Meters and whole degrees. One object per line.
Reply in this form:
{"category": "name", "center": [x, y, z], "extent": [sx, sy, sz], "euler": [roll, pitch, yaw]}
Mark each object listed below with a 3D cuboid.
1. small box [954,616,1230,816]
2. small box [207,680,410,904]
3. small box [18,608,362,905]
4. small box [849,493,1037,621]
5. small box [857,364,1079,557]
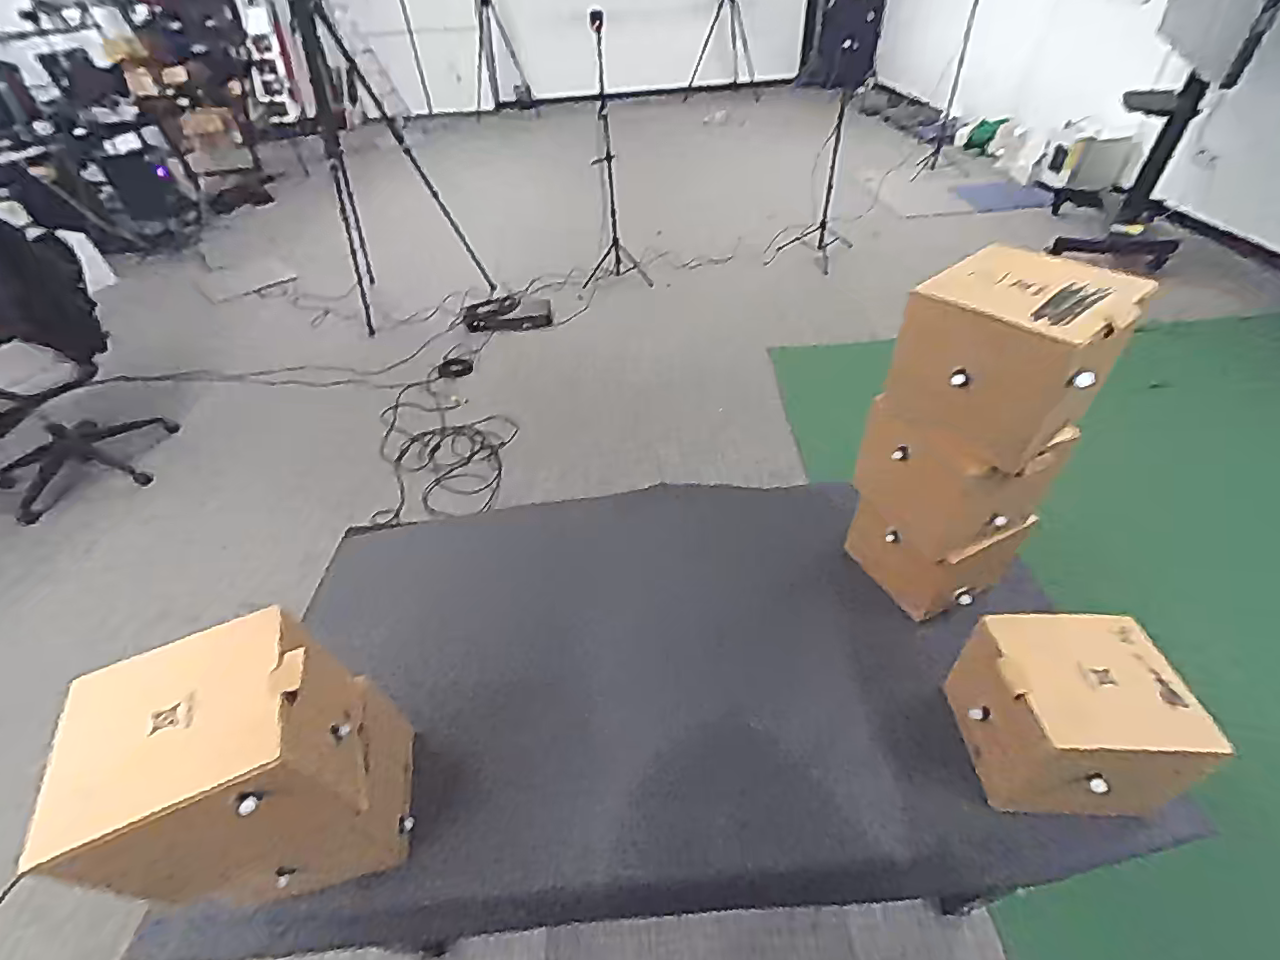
{"category": "small box", "center": [0.504, 0.281, 0.646], "extent": [0.179, 0.176, 0.168], "euler": [-1, 40, 5]}
{"category": "small box", "center": [-0.388, 0.368, 0.638], "extent": [0.179, 0.176, 0.168], "euler": [-13, 45, -7]}
{"category": "small box", "center": [-0.394, 0.261, 0.514], "extent": [0.179, 0.176, 0.168], "euler": [-21, 47, -17]}
{"category": "small box", "center": [0.461, 0.088, 0.857], "extent": [0.168, 0.176, 0.179], "euler": [-22, 48, -14]}
{"category": "small box", "center": [0.426, -0.027, 0.742], "extent": [0.168, 0.176, 0.179], "euler": [-20, 46, -10]}
